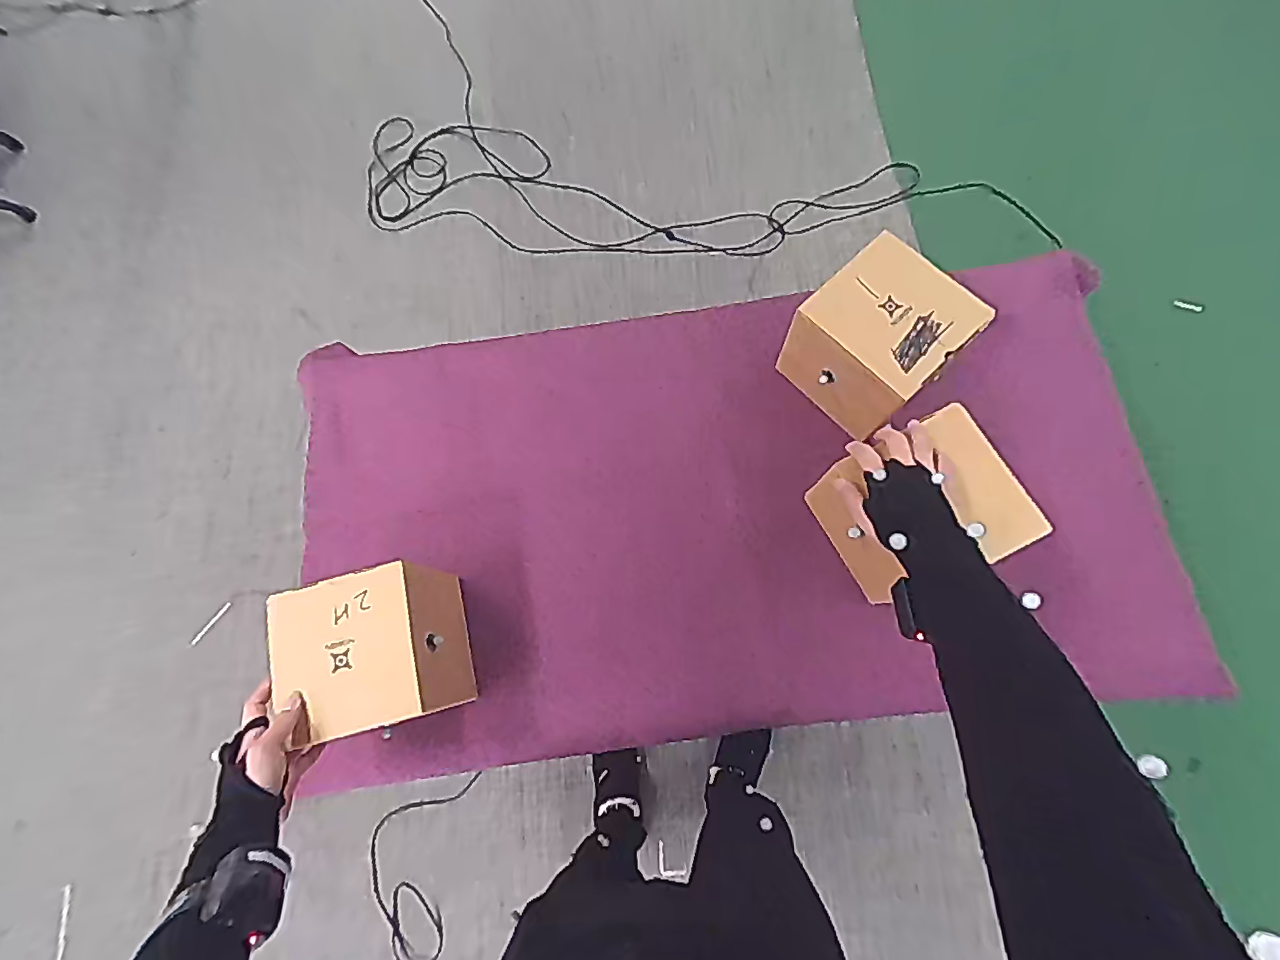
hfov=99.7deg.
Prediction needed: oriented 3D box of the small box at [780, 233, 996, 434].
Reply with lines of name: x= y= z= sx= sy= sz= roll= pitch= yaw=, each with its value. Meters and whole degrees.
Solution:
small box: x=0.318 y=-0.182 z=0.735 sx=0.168 sy=0.176 sz=0.179 roll=-41 pitch=76 yaw=-7

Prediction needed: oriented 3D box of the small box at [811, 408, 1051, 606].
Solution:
small box: x=0.341 y=0.044 z=0.676 sx=0.168 sy=0.176 sz=0.179 roll=-26 pitch=74 yaw=-3

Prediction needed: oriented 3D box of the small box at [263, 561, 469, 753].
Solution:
small box: x=-0.328 y=0.213 z=0.673 sx=0.168 sy=0.176 sz=0.179 roll=-14 pitch=73 yaw=0
